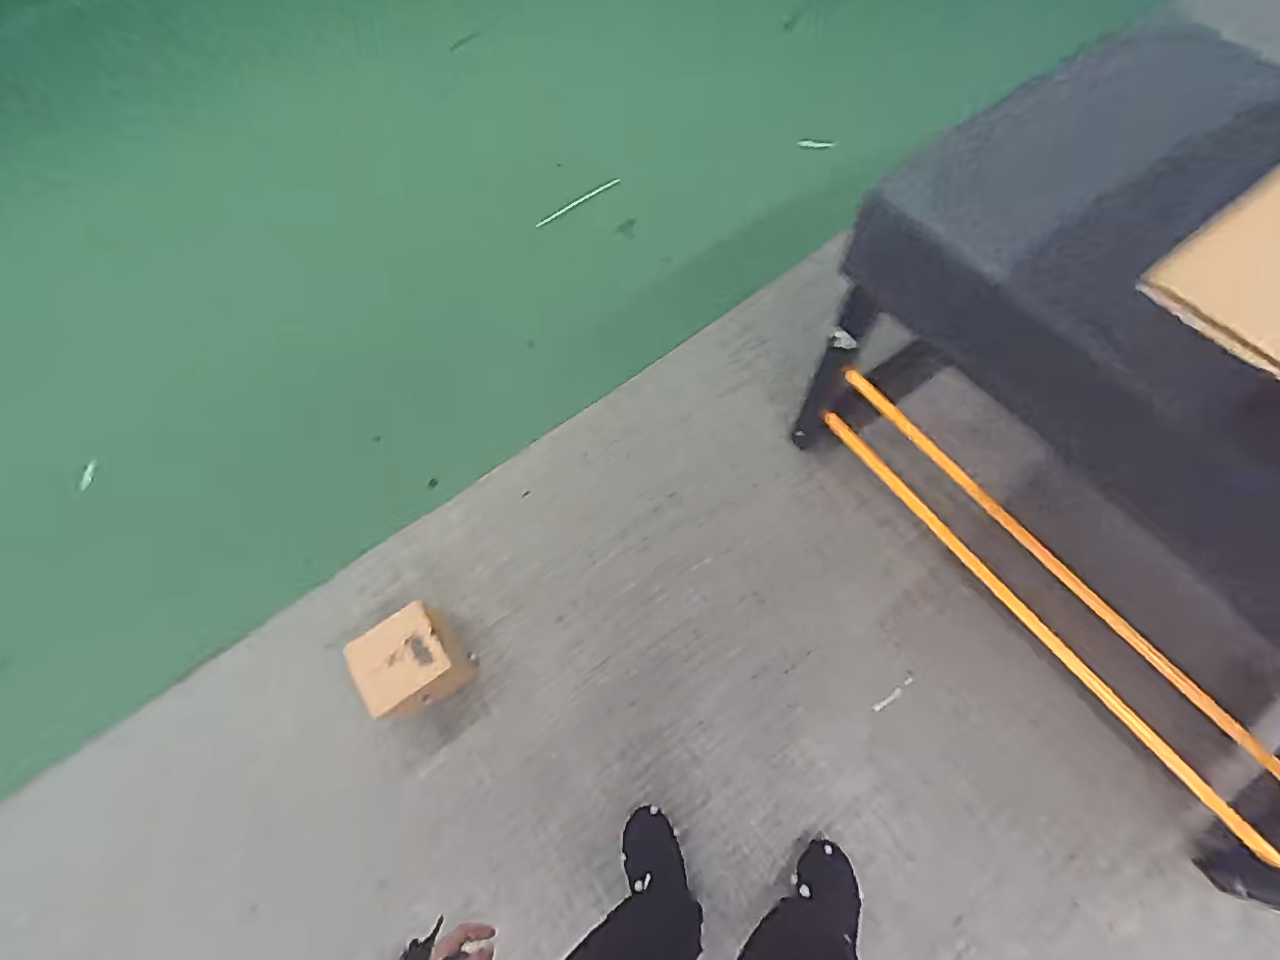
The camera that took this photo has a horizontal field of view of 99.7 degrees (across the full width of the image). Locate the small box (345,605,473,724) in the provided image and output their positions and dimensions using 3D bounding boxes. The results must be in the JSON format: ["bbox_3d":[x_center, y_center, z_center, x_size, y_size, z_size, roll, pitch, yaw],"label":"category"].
[{"bbox_3d":[-0.479,0.395,1.156,0.179,0.176,0.168,-34,68,-10],"label":"small box"}]
